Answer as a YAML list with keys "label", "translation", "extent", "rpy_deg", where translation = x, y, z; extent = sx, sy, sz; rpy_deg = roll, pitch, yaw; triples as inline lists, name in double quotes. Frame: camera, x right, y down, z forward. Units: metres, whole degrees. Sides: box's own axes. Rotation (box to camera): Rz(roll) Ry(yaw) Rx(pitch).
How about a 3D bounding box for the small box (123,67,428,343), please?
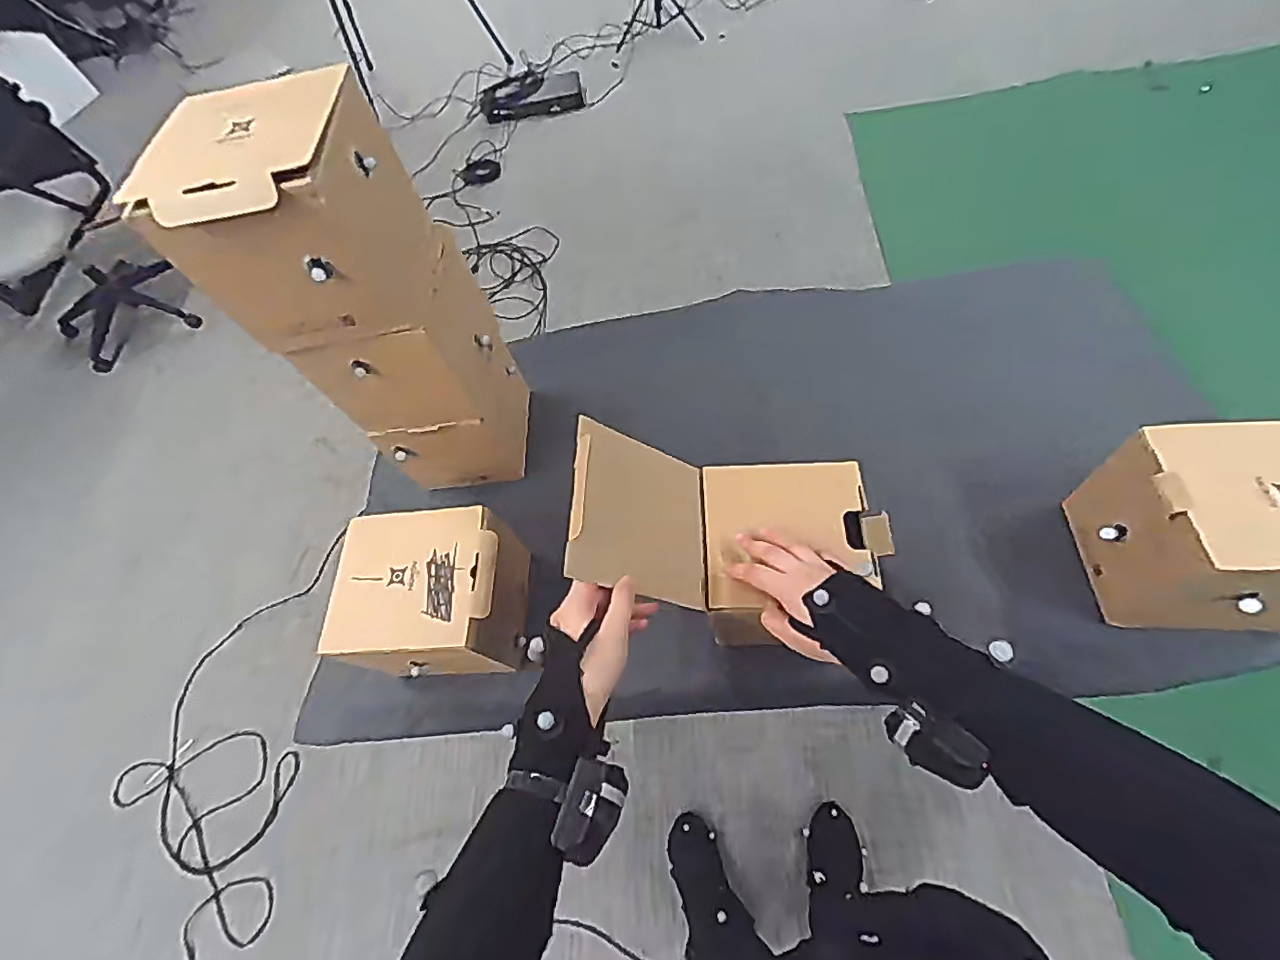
- label: "small box"
  translation: [-0.327, -0.254, 0.531]
  extent: [0.168, 0.176, 0.179]
  rpy_deg: [-9, 61, 4]

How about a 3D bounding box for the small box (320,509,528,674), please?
- label: "small box"
  translation: [-0.253, 0.147, 0.683]
  extent: [0.179, 0.176, 0.168]
  rpy_deg: [-5, 62, 8]

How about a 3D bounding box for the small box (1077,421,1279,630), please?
- label: "small box"
  translation: [0.612, 0.055, 0.574]
  extent: [0.179, 0.176, 0.168]
  rpy_deg: [-1, 58, 11]

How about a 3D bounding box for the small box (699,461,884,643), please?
- label: "small box"
  translation: [0.167, 0.094, 0.638]
  extent: [0.179, 0.176, 0.168]
  rpy_deg: [-4, 62, 9]

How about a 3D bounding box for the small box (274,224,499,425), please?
- label: "small box"
  translation: [-0.296, -0.181, 0.673]
  extent: [0.179, 0.176, 0.168]
  rpy_deg: [-5, 63, 7]
